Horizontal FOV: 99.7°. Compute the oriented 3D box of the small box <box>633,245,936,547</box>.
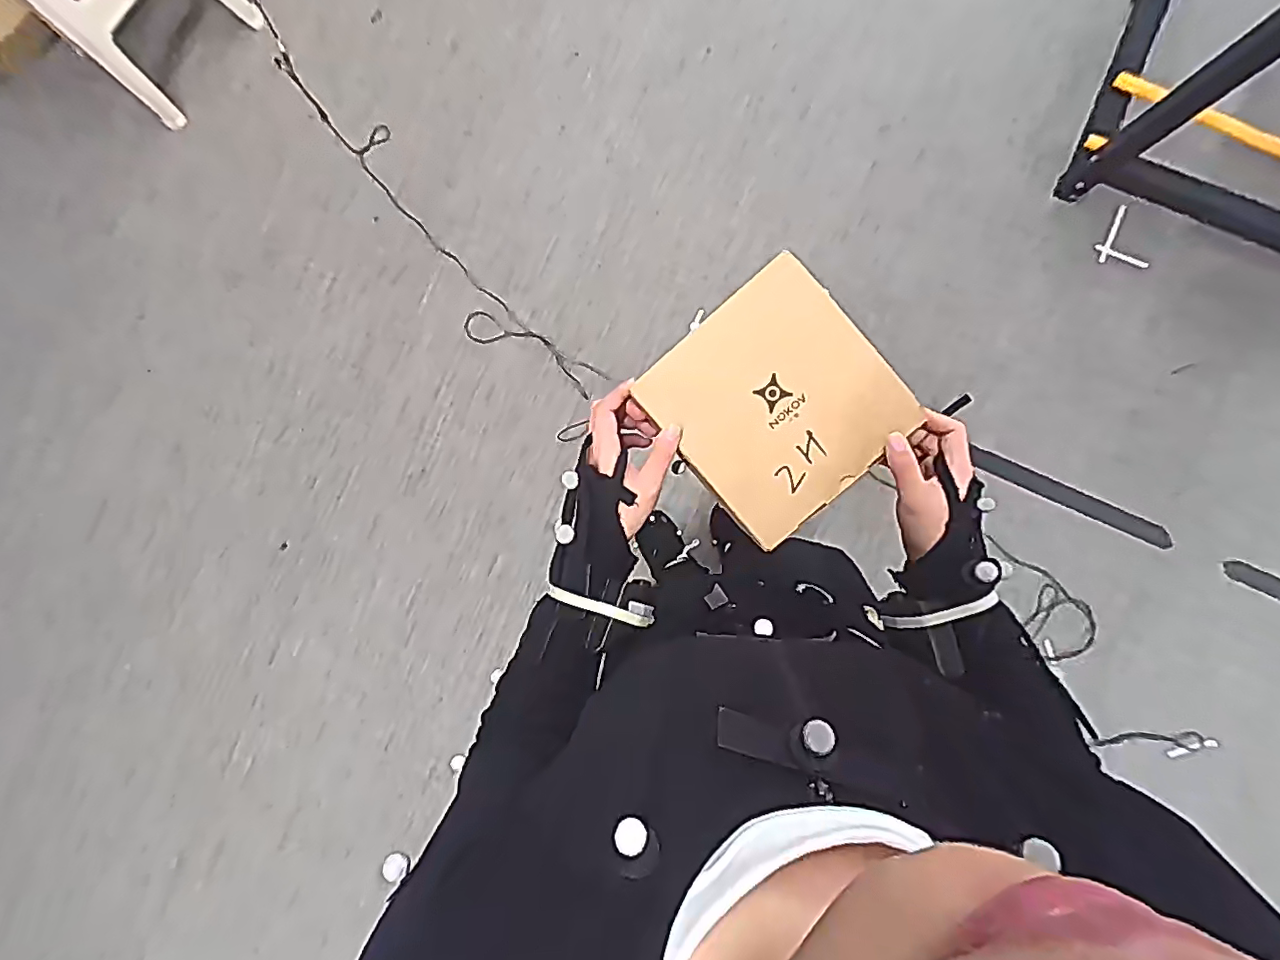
[{"bbox_3d":[0.112,-0.067,0.492,0.168,0.176,0.179,-40,92,5],"label":"small box"}]
